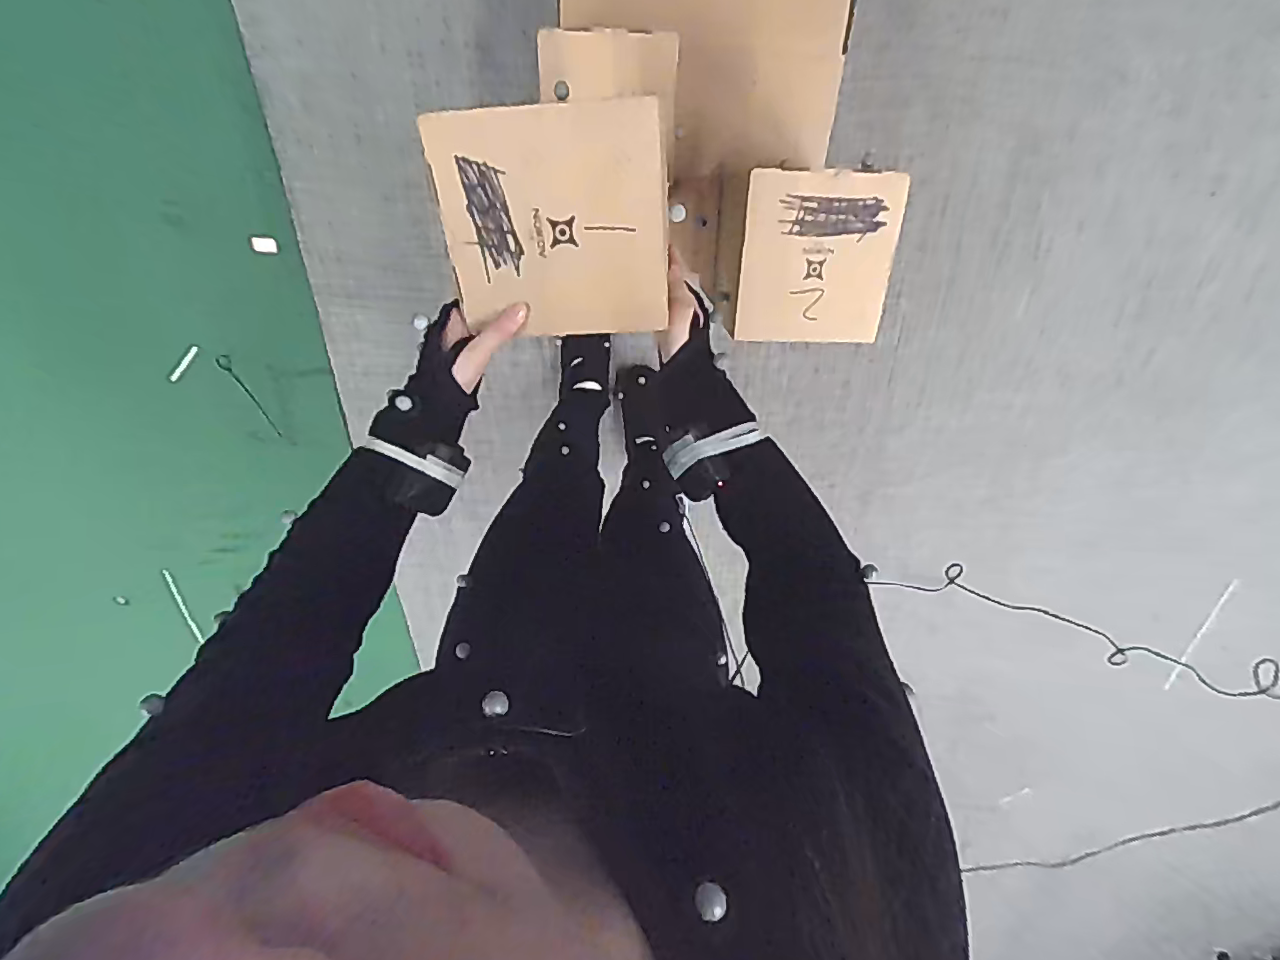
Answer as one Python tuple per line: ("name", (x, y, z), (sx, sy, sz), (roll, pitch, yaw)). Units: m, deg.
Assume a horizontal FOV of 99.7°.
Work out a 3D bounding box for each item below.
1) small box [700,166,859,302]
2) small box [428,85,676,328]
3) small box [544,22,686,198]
("small box", (0.189, -0.361, 0.790), (0.179, 0.176, 0.168), (0, 118, -1))
("small box", (-0.058, -0.245, 0.487), (0.179, 0.176, 0.168), (-2, 124, 4))
("small box", (-0.033, -0.476, 0.724), (0.168, 0.176, 0.179), (1, 117, -1))
